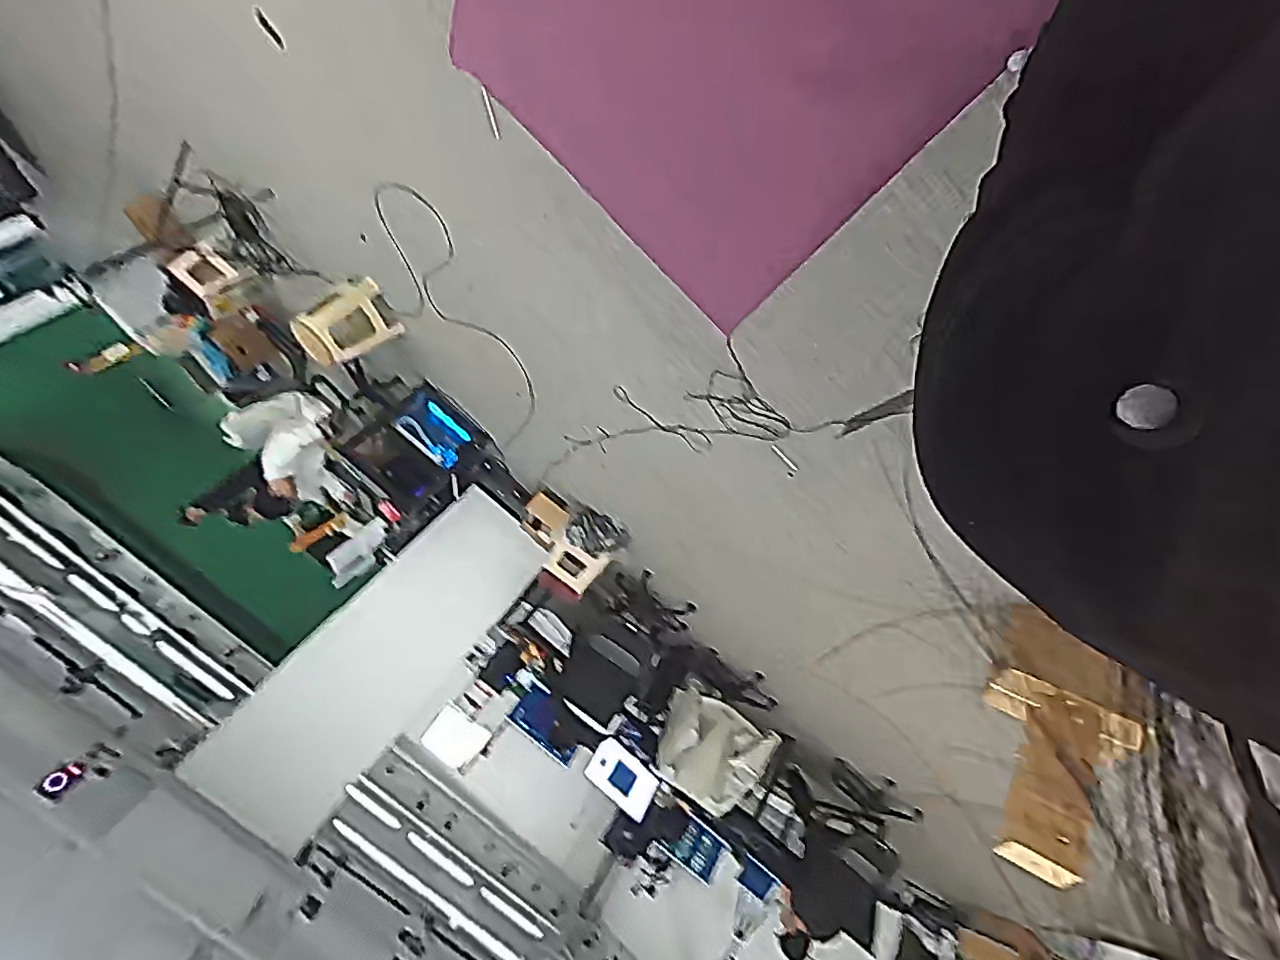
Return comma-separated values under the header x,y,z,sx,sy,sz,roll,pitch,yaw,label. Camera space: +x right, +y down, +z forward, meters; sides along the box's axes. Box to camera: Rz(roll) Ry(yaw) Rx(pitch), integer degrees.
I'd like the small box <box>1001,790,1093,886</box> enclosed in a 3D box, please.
x,y,z,sx,sy,sz,roll,pitch,yaw,label
1.208,1.056,1.604,0.168,0.176,0.179,22,146,28,small box

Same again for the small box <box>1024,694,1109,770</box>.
x,y,z,sx,sy,sz,roll,pitch,yaw,label
1.392,0.836,1.763,0.168,0.176,0.179,22,145,28,small box

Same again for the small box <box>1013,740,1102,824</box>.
x,y,z,sx,sy,sz,roll,pitch,yaw,label
1.302,0.949,1.684,0.168,0.176,0.179,22,147,28,small box
